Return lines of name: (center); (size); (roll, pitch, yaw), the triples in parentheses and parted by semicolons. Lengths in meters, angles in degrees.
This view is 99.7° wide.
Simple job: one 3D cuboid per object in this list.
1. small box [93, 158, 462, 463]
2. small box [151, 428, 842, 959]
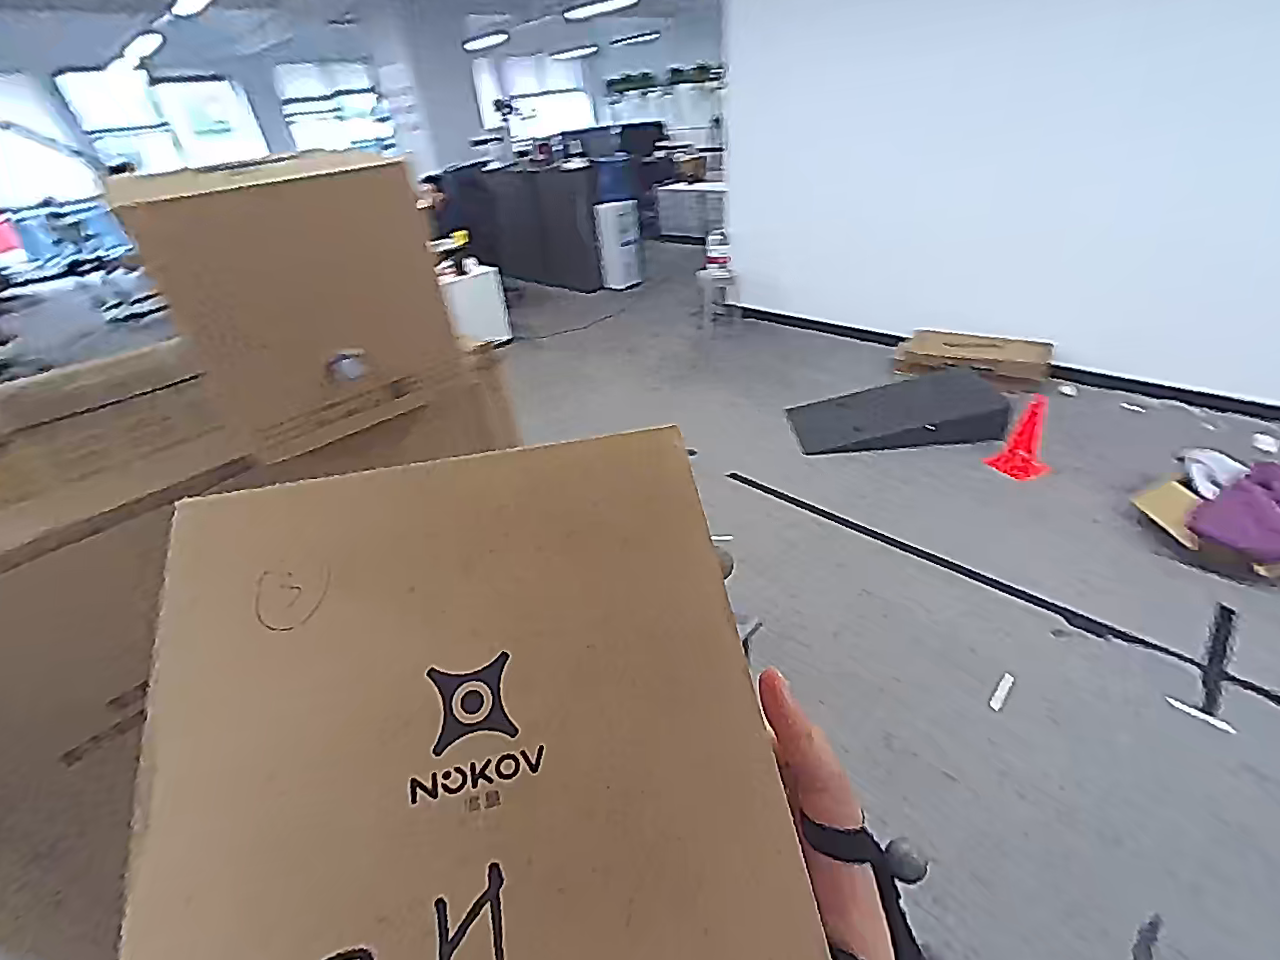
small box: (-0.267, -0.139, 0.421); (0.168, 0.176, 0.179); (-31, 45, -28)
small box: (-0.048, 0.103, 0.227); (0.168, 0.176, 0.179); (-10, 67, -8)
